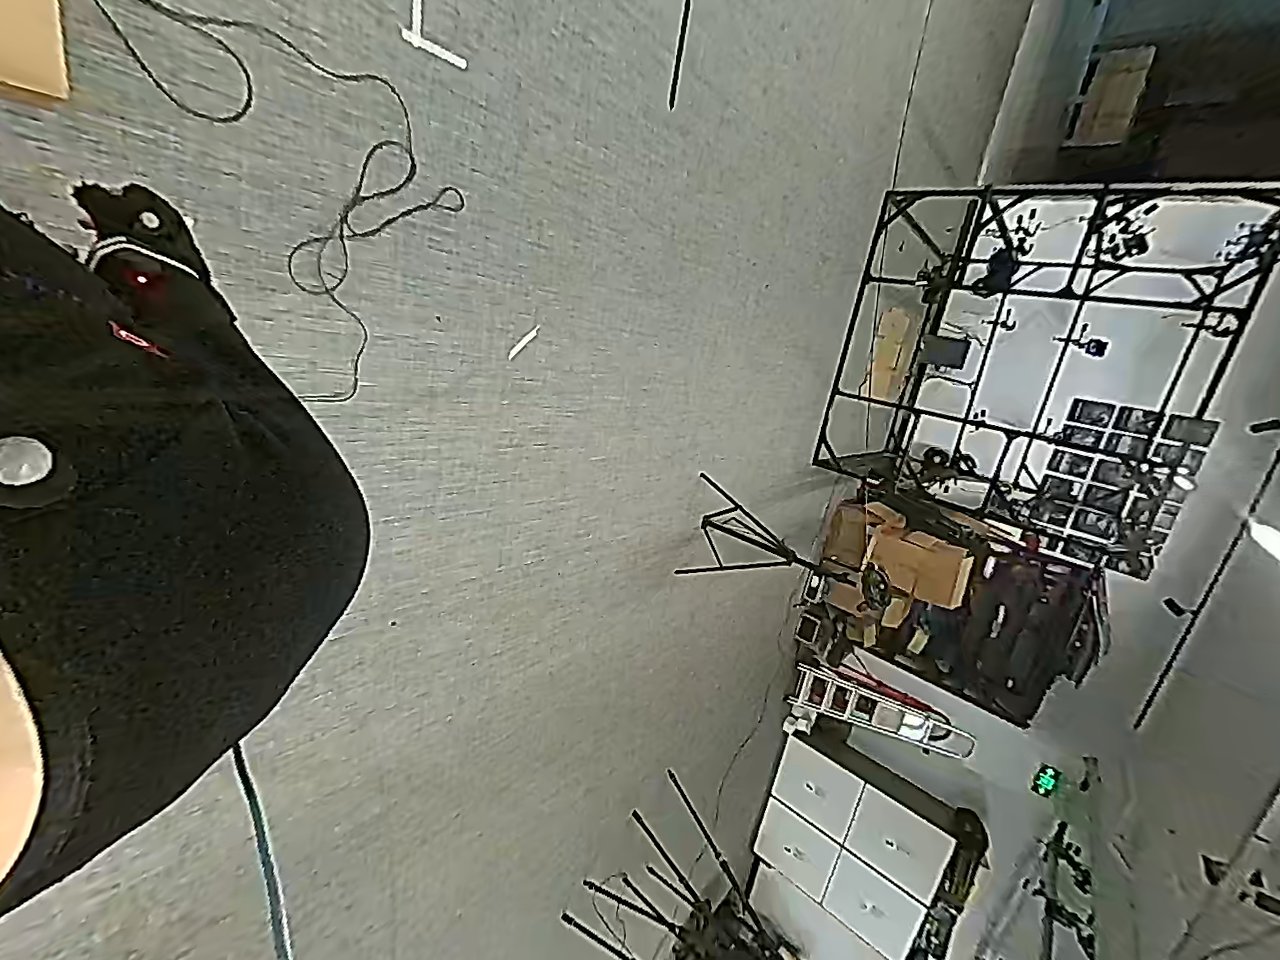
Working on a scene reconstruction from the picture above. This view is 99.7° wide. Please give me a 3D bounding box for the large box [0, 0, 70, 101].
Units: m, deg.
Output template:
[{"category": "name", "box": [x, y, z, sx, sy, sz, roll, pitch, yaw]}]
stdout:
[{"category": "large box", "box": [-1.008, -0.704, 0.637, 0.408, 0.320, 0.320, -13, 121, -50]}]
